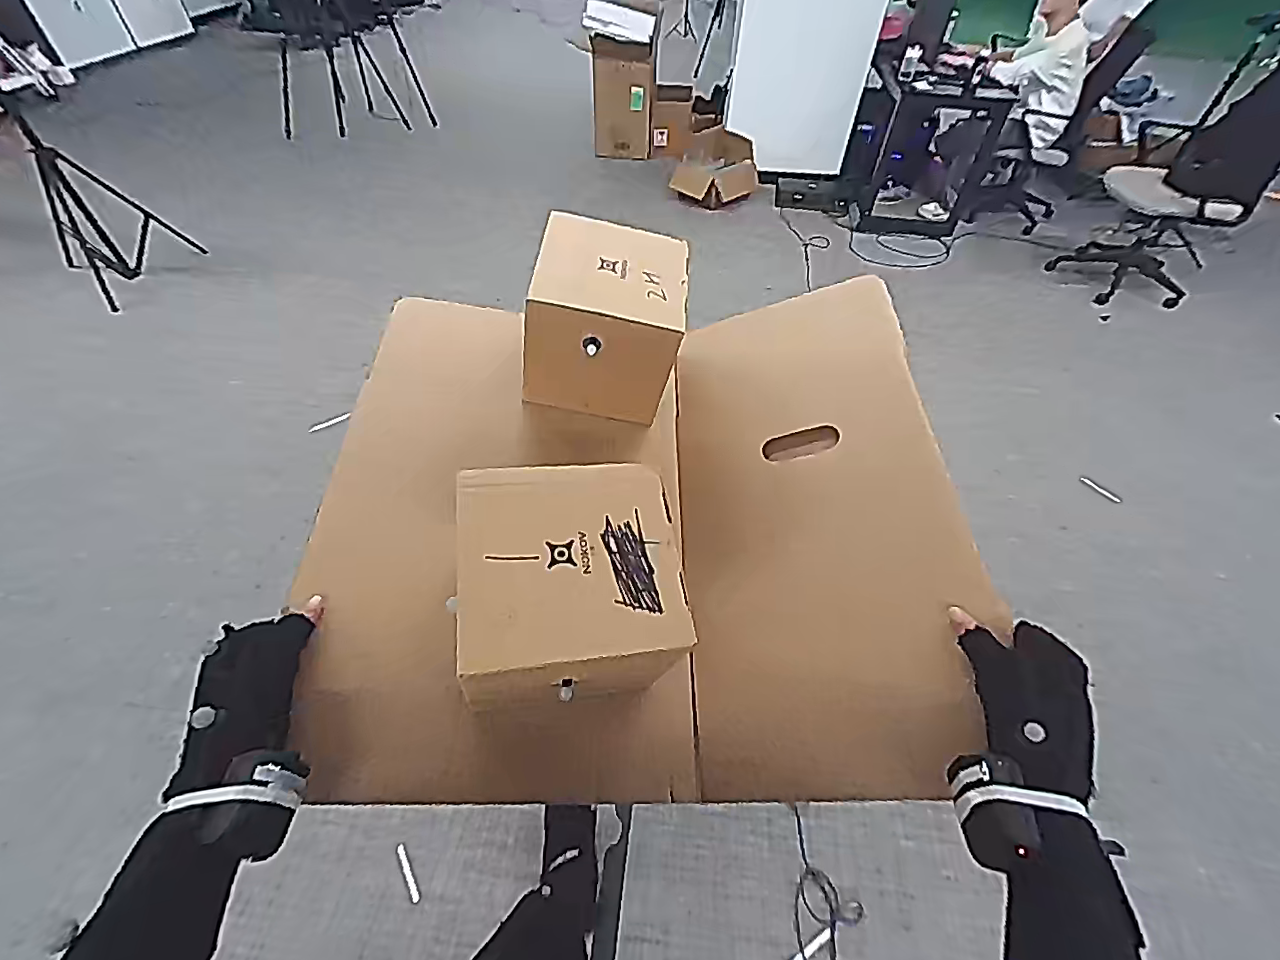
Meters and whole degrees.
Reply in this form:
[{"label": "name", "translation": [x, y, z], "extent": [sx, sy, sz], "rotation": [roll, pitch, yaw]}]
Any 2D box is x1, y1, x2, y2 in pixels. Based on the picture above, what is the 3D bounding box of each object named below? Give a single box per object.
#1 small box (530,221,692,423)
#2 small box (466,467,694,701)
[{"label": "small box", "translation": [-0.042, -0.195, 0.700], "extent": [0.179, 0.176, 0.168], "rotation": [11, 57, -7]}, {"label": "small box", "translation": [-0.068, 0.101, 0.509], "extent": [0.179, 0.176, 0.168], "rotation": [-2, 60, -14]}]
